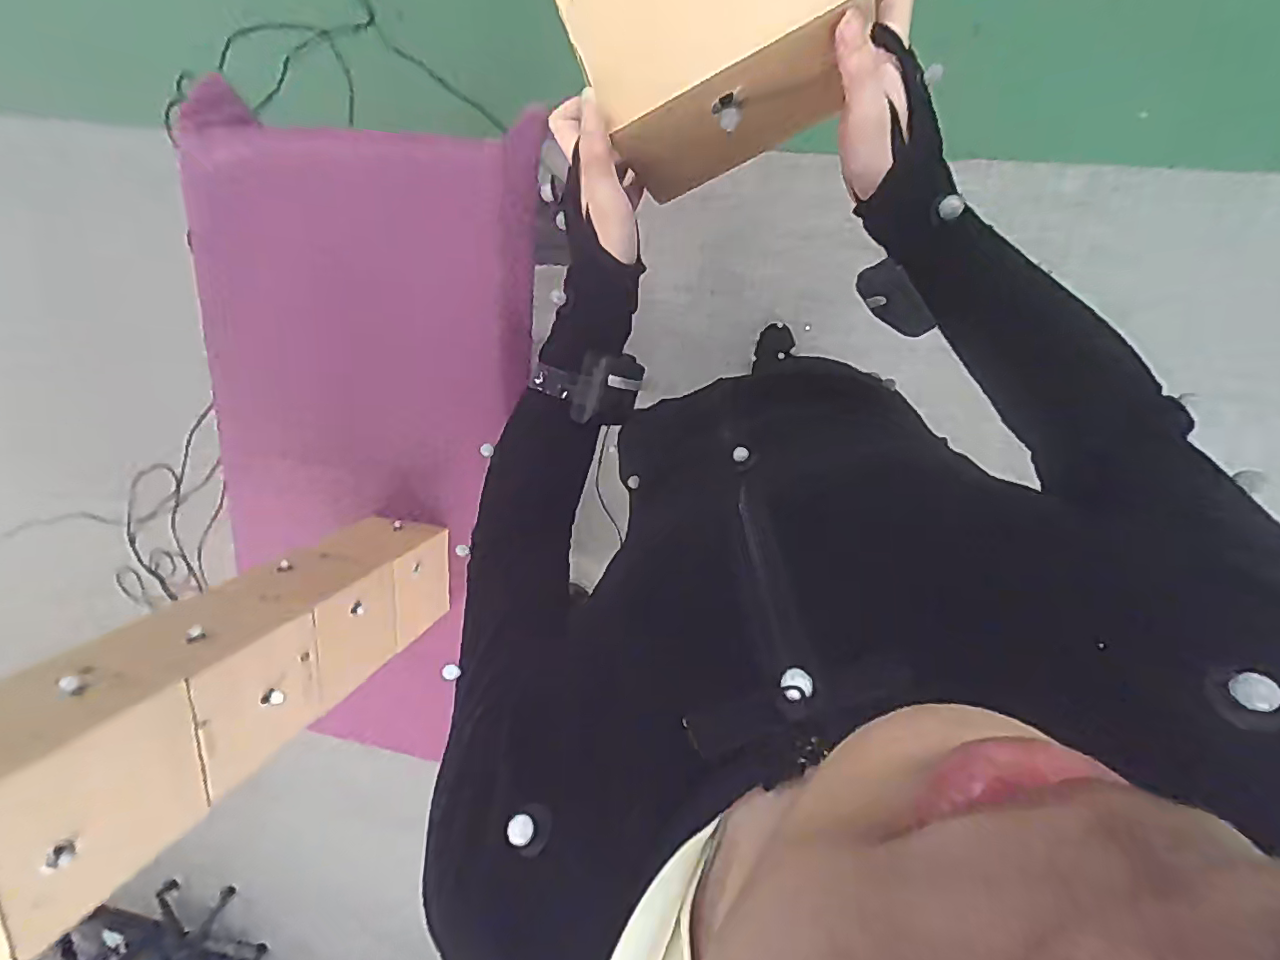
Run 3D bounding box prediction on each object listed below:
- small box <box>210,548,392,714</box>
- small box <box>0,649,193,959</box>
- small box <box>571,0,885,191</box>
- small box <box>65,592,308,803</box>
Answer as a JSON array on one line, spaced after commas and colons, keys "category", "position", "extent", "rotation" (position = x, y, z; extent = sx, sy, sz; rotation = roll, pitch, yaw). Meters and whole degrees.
[{"category": "small box", "position": [-0.505, 0.218, 0.828], "extent": [0.168, 0.176, 0.179], "rotation": [8, 105, 11]}, {"category": "small box", "position": [-0.576, 0.293, 0.517], "extent": [0.168, 0.176, 0.179], "rotation": [6, 104, 11]}, {"category": "small box", "position": [0.055, -0.346, 0.392], "extent": [0.179, 0.176, 0.168], "rotation": [-17, 97, 19]}, {"category": "small box", "position": [-0.545, 0.255, 0.674], "extent": [0.179, 0.176, 0.168], "rotation": [6, 104, 10]}]
